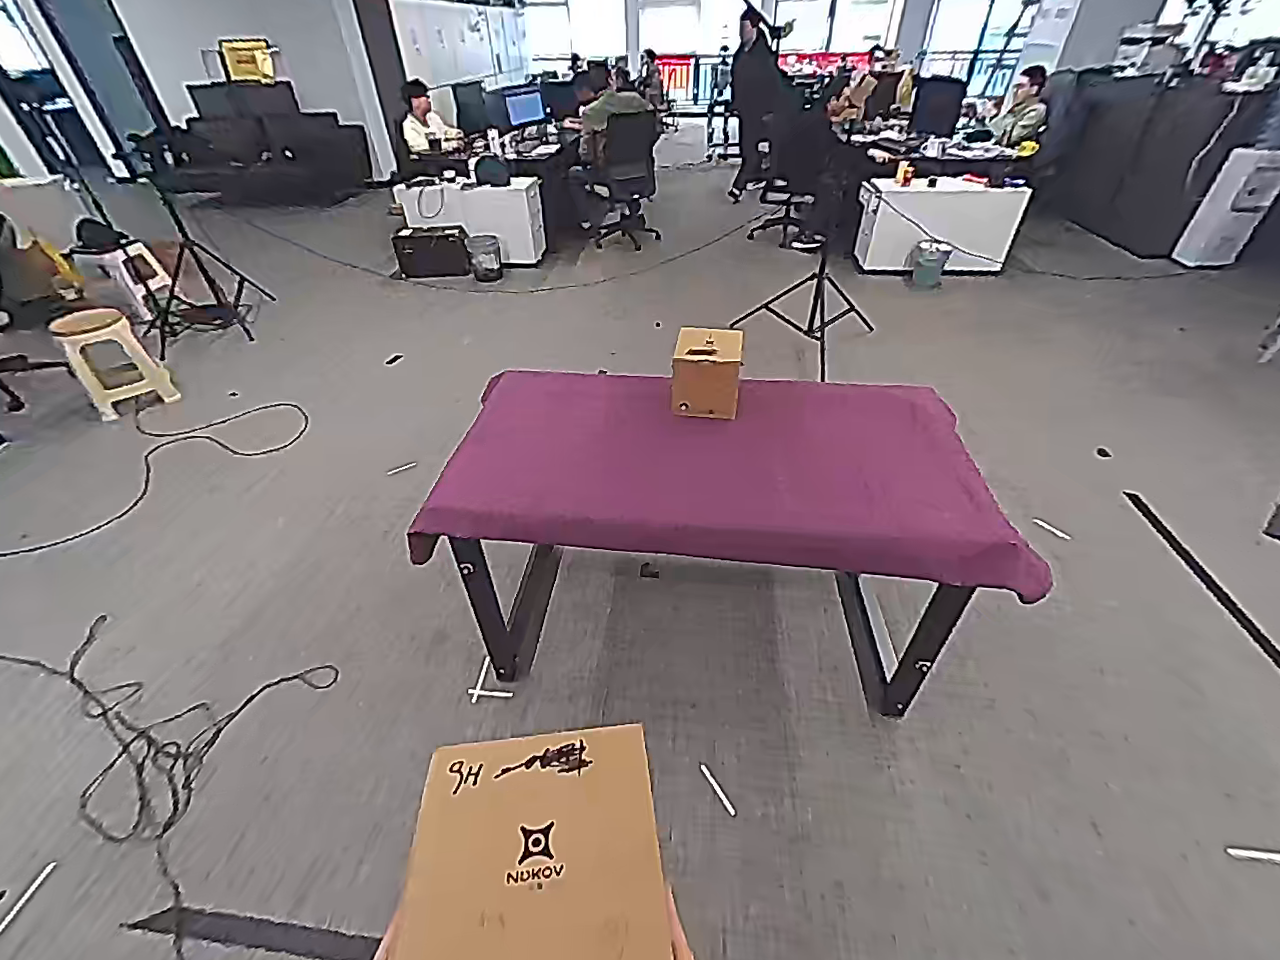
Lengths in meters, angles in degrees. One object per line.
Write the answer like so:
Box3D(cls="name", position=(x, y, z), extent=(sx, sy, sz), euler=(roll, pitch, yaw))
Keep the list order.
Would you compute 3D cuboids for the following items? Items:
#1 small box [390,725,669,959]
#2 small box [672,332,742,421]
Box3D(cls="small box", position=(-0.067, 0.318, 0.400), extent=(0.168, 0.176, 0.179), euler=(-5, 34, -5))
Box3D(cls="small box", position=(0.177, -0.273, 1.425), extent=(0.168, 0.176, 0.179), euler=(6, 41, 8))
